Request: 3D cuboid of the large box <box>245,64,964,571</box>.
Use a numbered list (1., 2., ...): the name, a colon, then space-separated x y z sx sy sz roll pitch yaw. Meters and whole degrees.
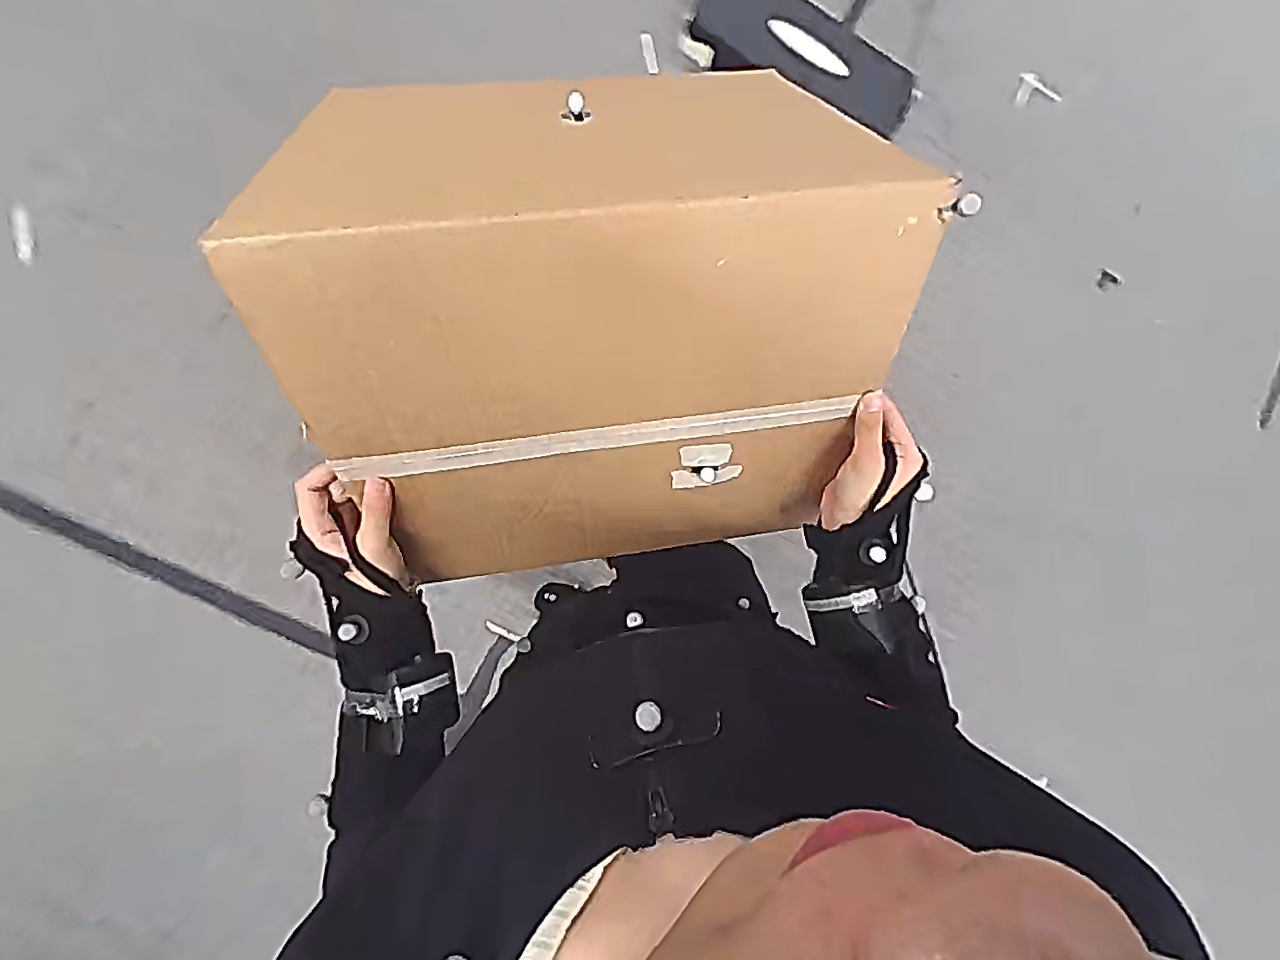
1. large box: -0.031 -0.155 0.498 0.408 0.320 0.320 -8 49 -6
